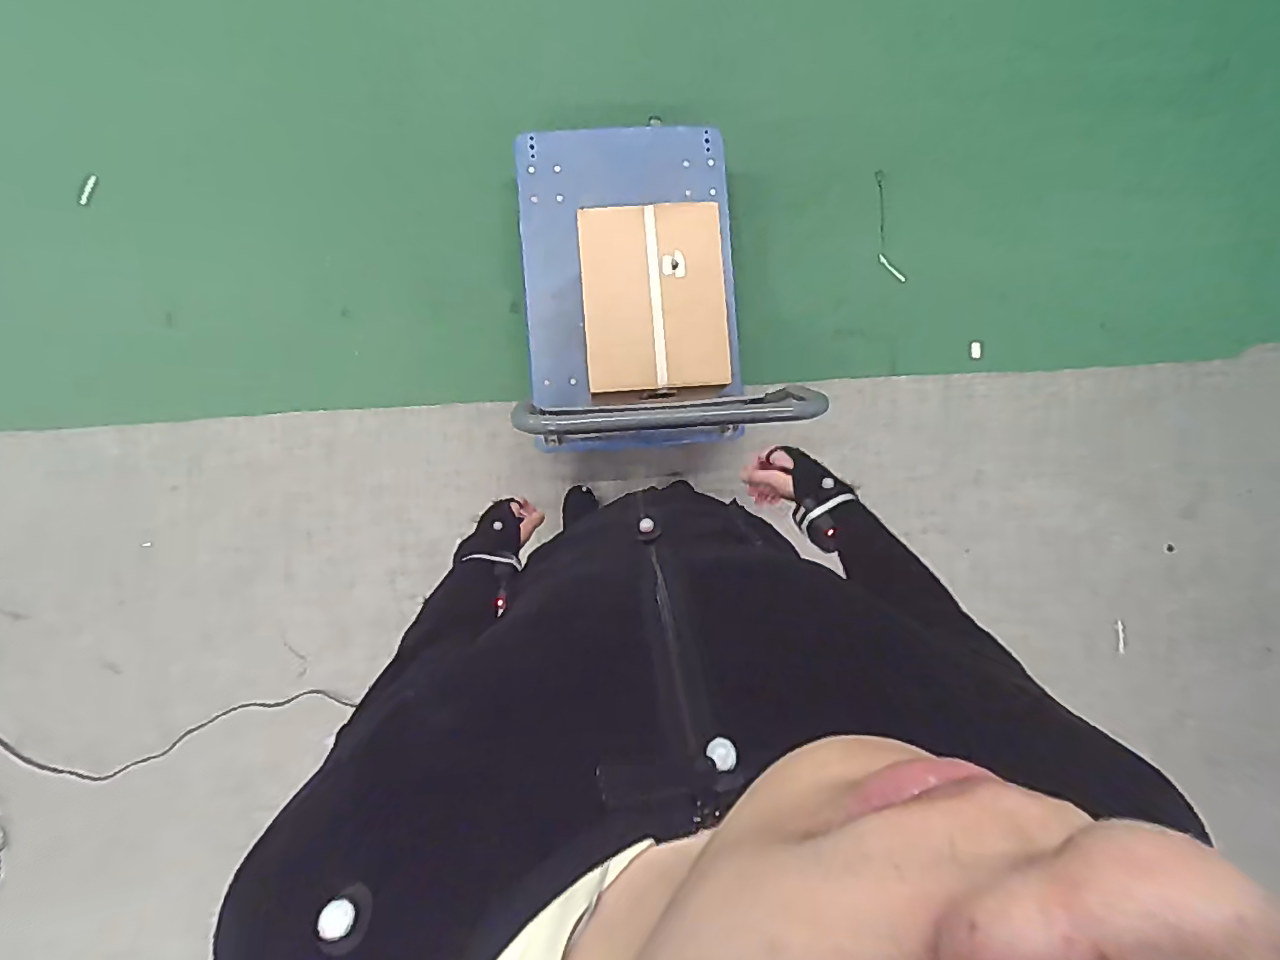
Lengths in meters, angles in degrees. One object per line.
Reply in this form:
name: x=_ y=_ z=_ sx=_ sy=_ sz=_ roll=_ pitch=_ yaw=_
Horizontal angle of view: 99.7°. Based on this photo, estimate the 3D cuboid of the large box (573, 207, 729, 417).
large box: x=0.017 y=-0.387 z=1.326 sx=0.320 sy=0.320 sz=0.408 roll=-5 pitch=88 yaw=-4
